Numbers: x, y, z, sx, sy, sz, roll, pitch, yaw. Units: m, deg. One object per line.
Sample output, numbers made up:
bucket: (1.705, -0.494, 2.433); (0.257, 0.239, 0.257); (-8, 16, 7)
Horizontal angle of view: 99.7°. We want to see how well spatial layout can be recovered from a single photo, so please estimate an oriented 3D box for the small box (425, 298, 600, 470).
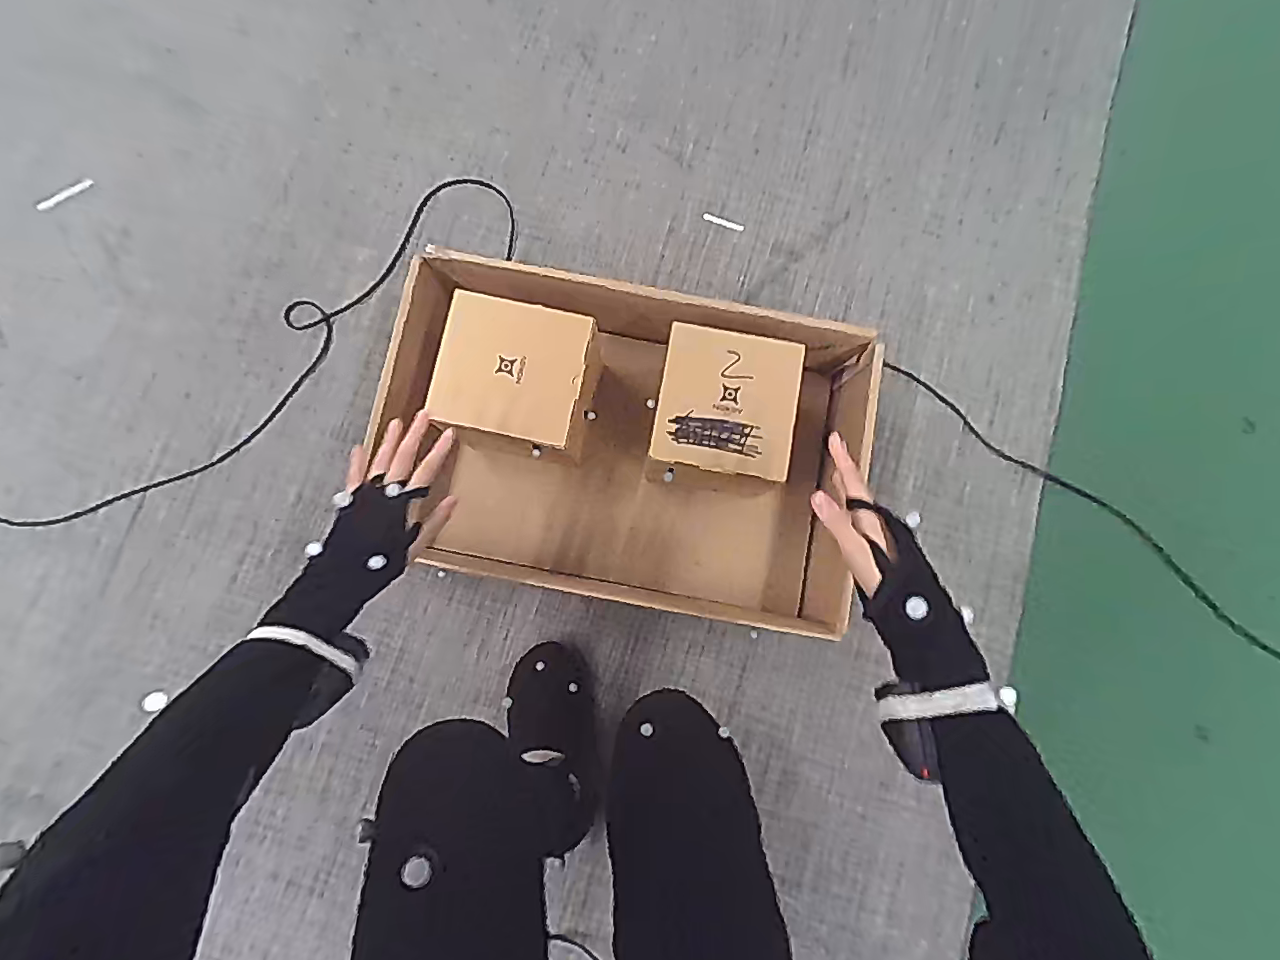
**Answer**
small box: (-0.157, -0.116, 0.728); (0.179, 0.176, 0.168); (12, 82, -1)
